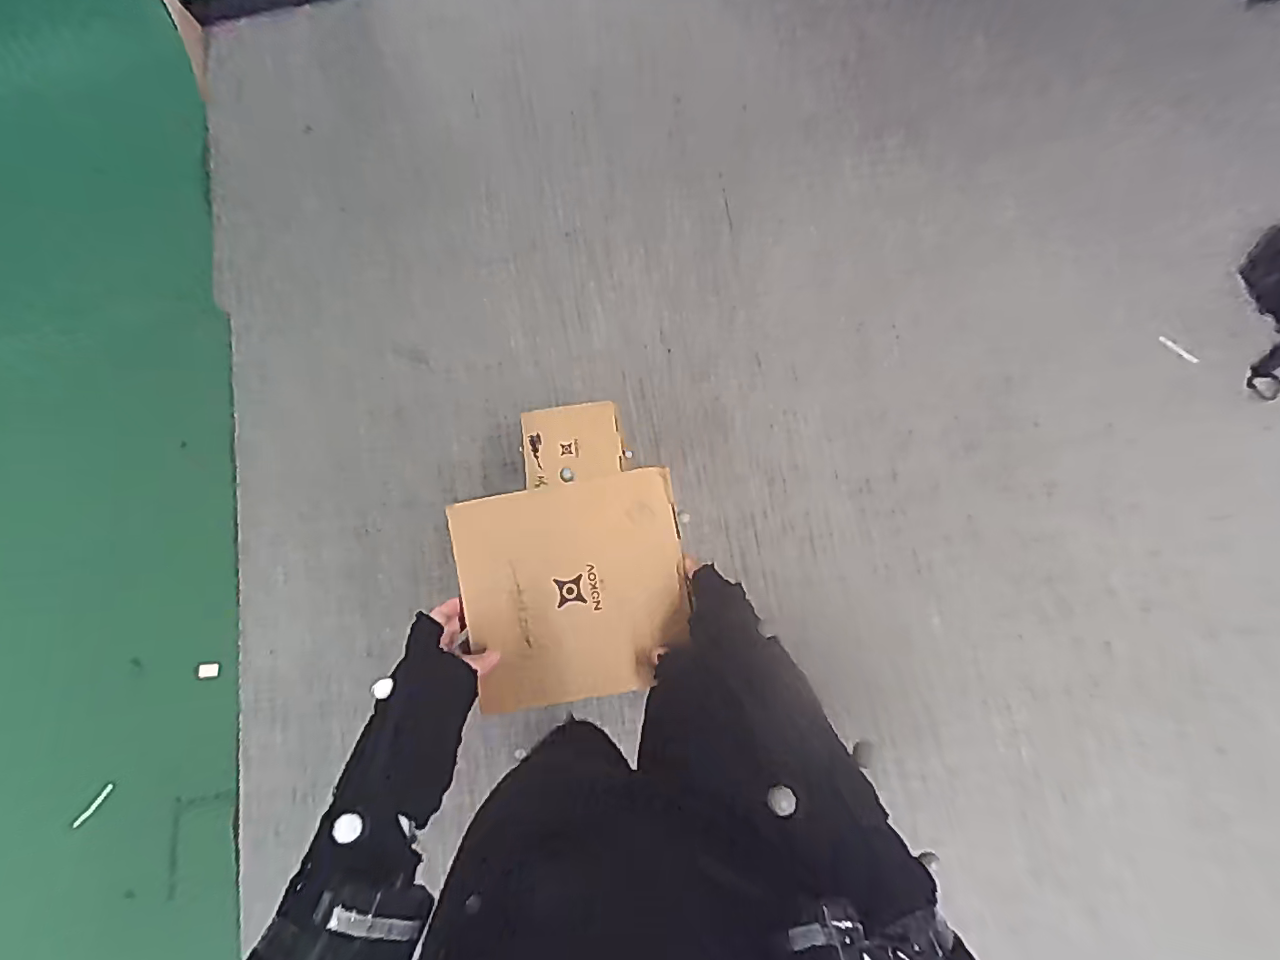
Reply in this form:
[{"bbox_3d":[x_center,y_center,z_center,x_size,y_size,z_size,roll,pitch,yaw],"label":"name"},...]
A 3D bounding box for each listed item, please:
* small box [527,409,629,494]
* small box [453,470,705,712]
[{"bbox_3d":[-0.112,-0.030,1.060,0.179,0.176,0.168,-6,80,3],"label":"small box"},{"bbox_3d":[-0.046,0.089,0.503,0.179,0.176,0.168,-12,87,3],"label":"small box"}]
